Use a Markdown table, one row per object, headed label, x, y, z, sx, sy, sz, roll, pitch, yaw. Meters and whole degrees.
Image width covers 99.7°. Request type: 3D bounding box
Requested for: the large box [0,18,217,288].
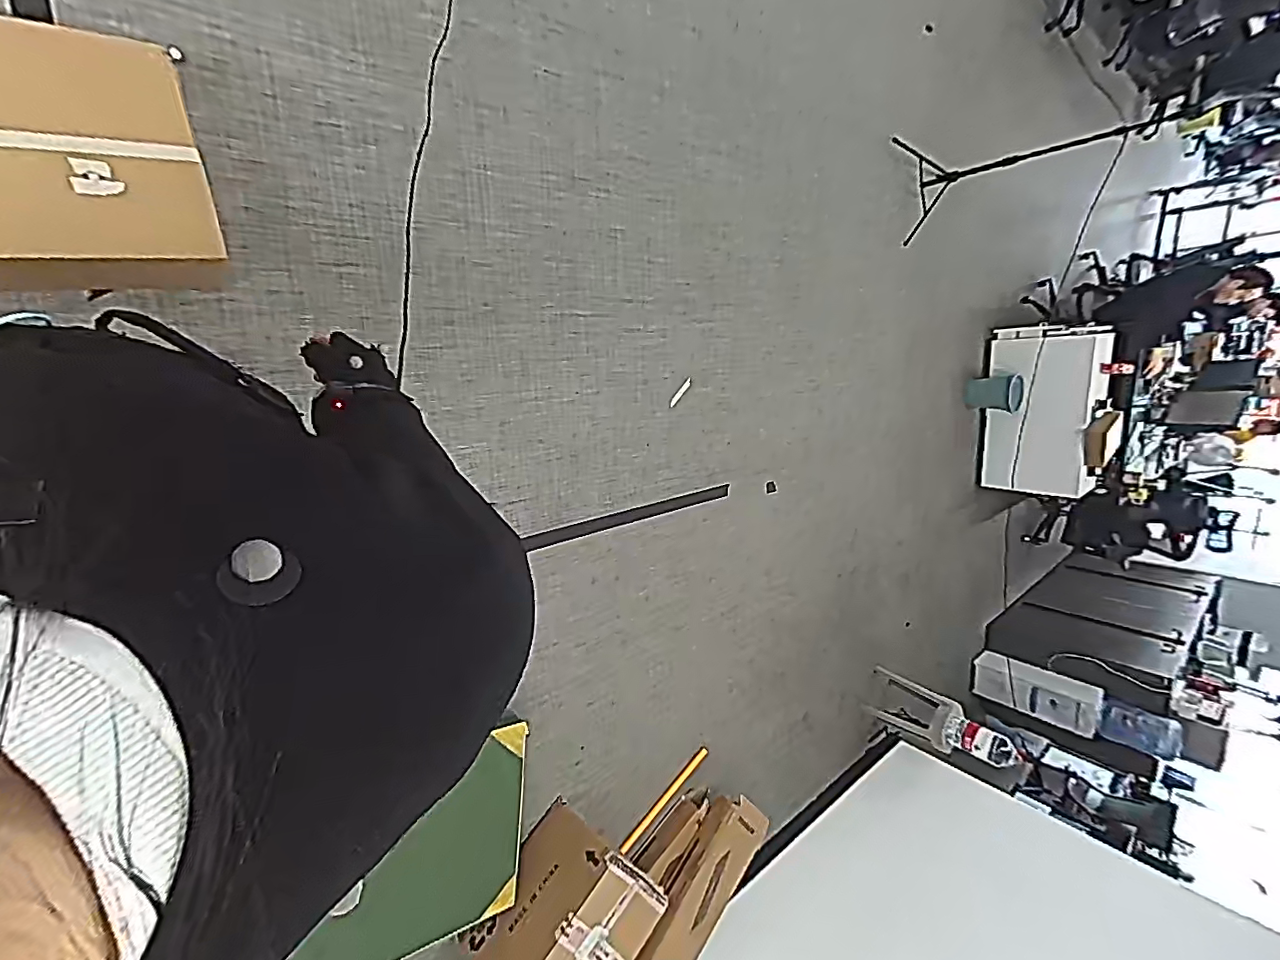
| label | x | y | z | sx | sy | sz | roll | pitch | yaw |
| --- | --- | --- | --- | --- | --- | --- | --- | --- | --- |
| large box | -0.979 | -0.499 | 0.877 | 0.408 | 0.320 | 0.320 | -17 | 108 | -37 |
